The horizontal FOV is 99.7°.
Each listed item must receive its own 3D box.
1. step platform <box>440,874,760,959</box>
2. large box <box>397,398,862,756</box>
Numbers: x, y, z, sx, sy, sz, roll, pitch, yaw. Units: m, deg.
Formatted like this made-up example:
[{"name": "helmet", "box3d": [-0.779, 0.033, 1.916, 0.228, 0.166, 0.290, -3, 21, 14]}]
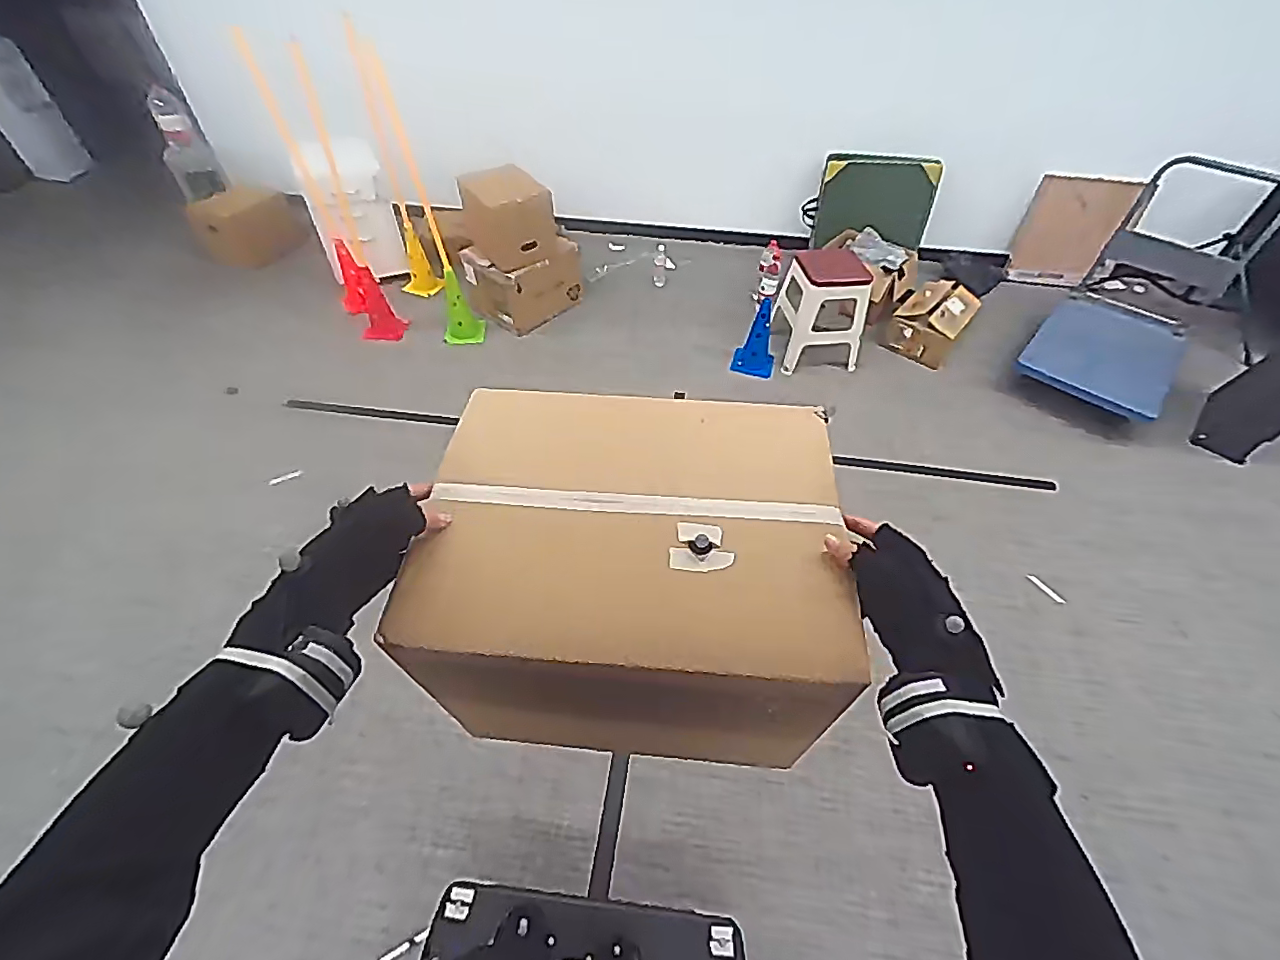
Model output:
[{"name": "step platform", "box3d": [-0.084, 1.060, 1.160, 0.684, 0.204, 0.286, 6, 49, 2]}, {"name": "large box", "box3d": [-0.004, 0.124, 0.660, 0.408, 0.320, 0.320, 4, 52, 3]}]
